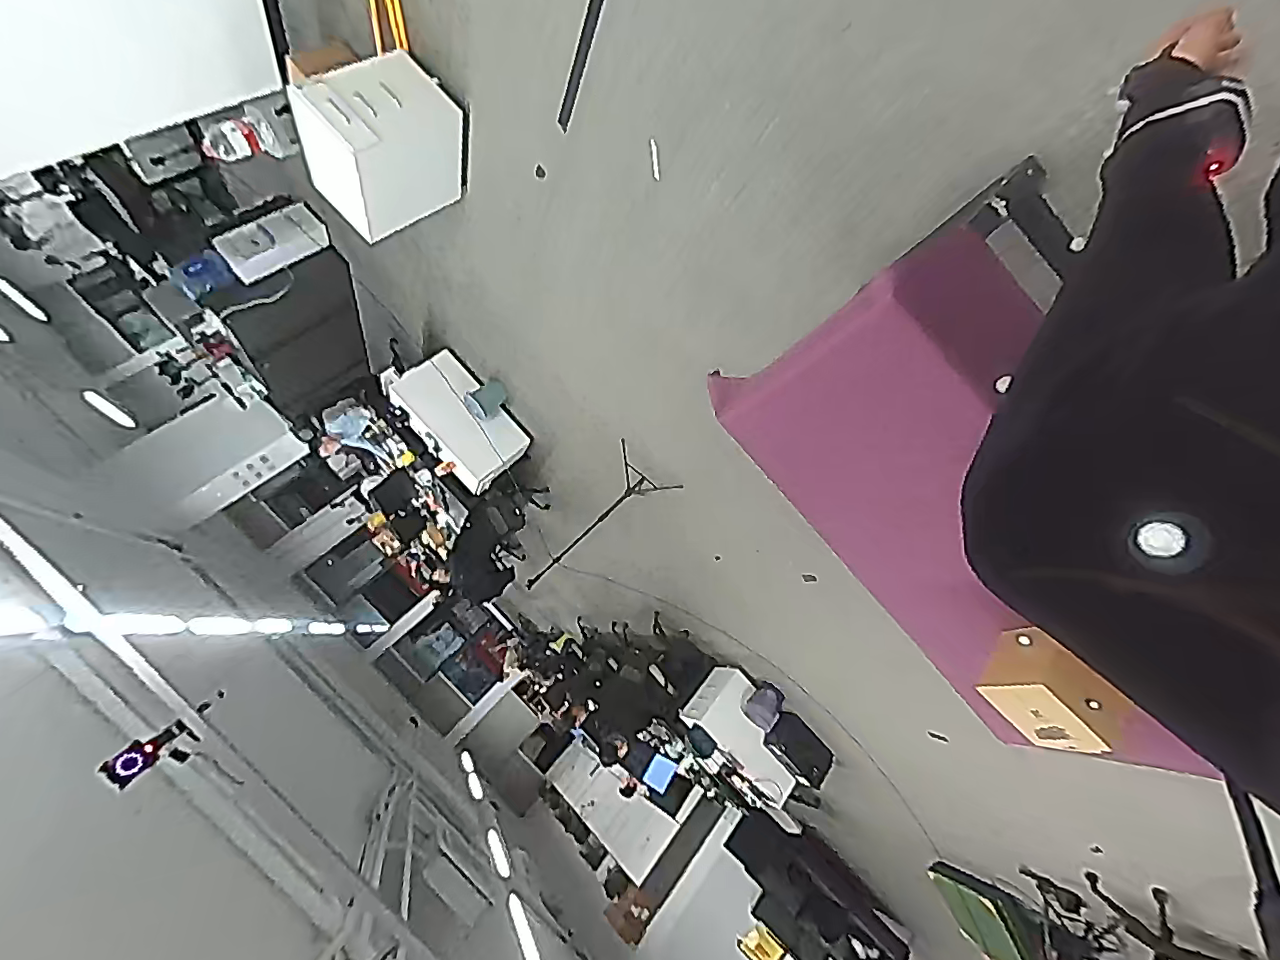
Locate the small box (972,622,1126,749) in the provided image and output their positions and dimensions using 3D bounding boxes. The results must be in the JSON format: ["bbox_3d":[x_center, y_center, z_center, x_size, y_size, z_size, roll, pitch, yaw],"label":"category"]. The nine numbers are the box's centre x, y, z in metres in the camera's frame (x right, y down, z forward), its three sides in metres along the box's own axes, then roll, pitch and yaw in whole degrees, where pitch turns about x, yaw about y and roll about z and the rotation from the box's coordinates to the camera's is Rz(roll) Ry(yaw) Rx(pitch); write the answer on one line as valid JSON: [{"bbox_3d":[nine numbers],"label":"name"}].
[{"bbox_3d":[0.854,0.426,1.130,0.179,0.176,0.168,44,154,6],"label":"small box"}]
